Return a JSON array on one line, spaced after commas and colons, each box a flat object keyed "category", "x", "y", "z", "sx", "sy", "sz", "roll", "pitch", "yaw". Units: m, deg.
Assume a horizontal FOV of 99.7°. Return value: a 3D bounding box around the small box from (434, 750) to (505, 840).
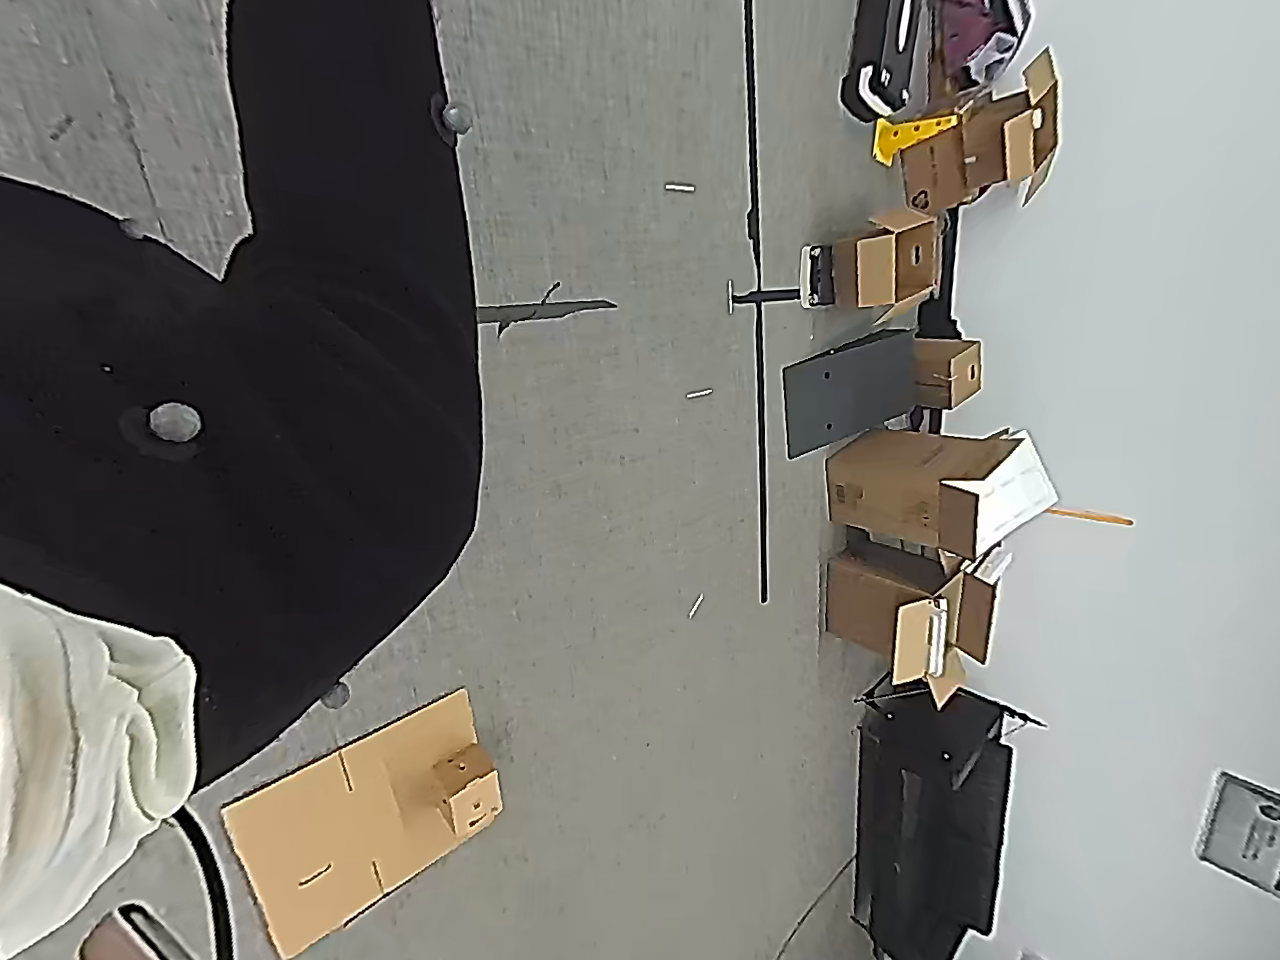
[{"category": "small box", "x": -0.580, "y": 1.053, "z": 1.832, "sx": 0.168, "sy": 0.176, "sz": 0.179, "roll": -16, "pitch": 110, "yaw": -38}]
